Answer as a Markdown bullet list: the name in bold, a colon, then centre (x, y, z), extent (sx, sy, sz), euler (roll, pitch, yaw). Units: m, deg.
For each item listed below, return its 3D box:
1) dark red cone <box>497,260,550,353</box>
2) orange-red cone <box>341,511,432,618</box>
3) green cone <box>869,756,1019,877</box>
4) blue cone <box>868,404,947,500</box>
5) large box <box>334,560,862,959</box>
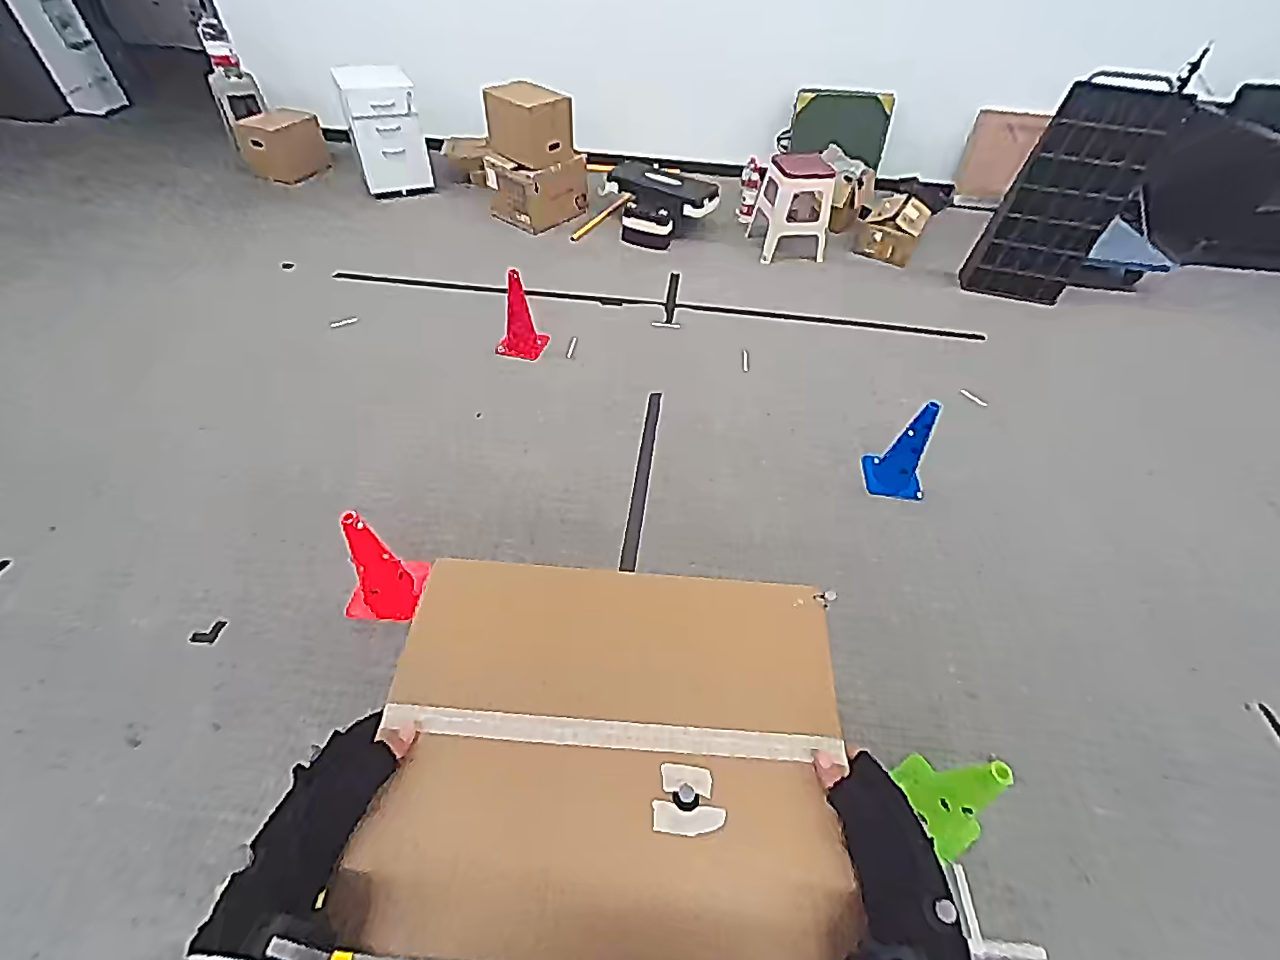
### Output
- **dark red cone**: centre (-0.515, -0.755, 2.335), extent (0.201, 0.394, 0.202), euler (12, 49, 5)
- **orange-red cone**: centre (-0.737, 0.209, 1.491), extent (0.198, 0.360, 0.199), euler (4, 50, 1)
- **green cone**: centre (0.689, 0.680, 1.162), extent (0.202, 0.368, 0.200), euler (-22, 54, -23)
- **blue cone**: centre (0.971, -0.116, 1.916), extent (0.192, 0.380, 0.193), euler (10, 49, 4)
- **large box**: centre (-0.029, 0.309, 0.606), extent (0.408, 0.320, 0.320), euler (5, 54, 1)
